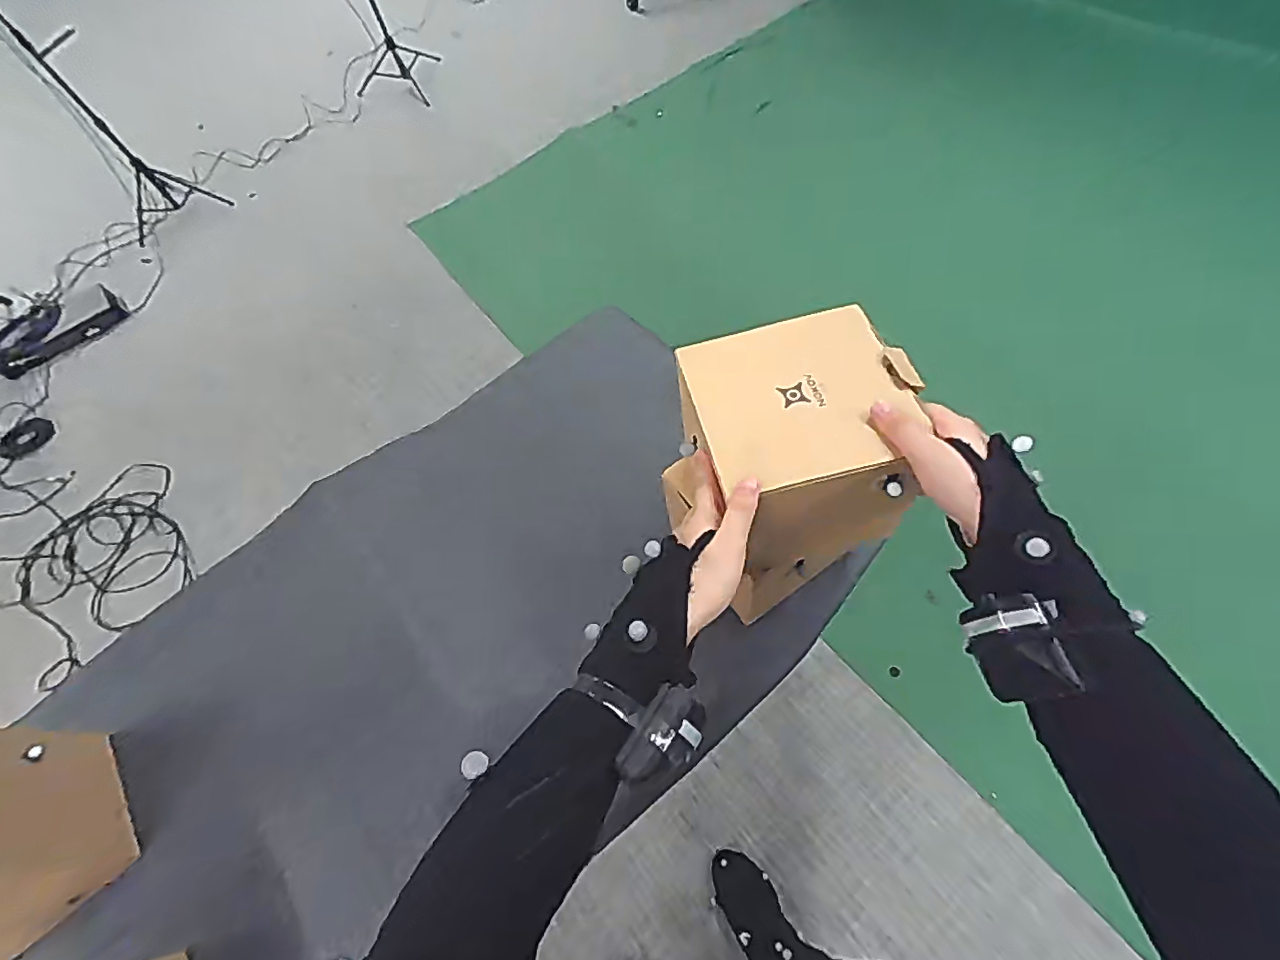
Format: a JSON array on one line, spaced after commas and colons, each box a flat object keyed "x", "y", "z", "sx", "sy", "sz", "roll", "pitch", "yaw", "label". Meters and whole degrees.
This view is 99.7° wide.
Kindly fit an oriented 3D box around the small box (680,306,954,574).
[{"x": 0.147, "y": -0.028, "z": 0.511, "sx": 0.179, "sy": 0.176, "sz": 0.168, "roll": -14, "pitch": 59, "yaw": 0, "label": "small box"}]

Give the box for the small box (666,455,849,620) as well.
[{"x": 0.155, "y": 0.044, "z": 0.660, "sx": 0.179, "sy": 0.176, "sz": 0.168, "roll": -33, "pitch": 61, "yaw": -10, "label": "small box"}]
